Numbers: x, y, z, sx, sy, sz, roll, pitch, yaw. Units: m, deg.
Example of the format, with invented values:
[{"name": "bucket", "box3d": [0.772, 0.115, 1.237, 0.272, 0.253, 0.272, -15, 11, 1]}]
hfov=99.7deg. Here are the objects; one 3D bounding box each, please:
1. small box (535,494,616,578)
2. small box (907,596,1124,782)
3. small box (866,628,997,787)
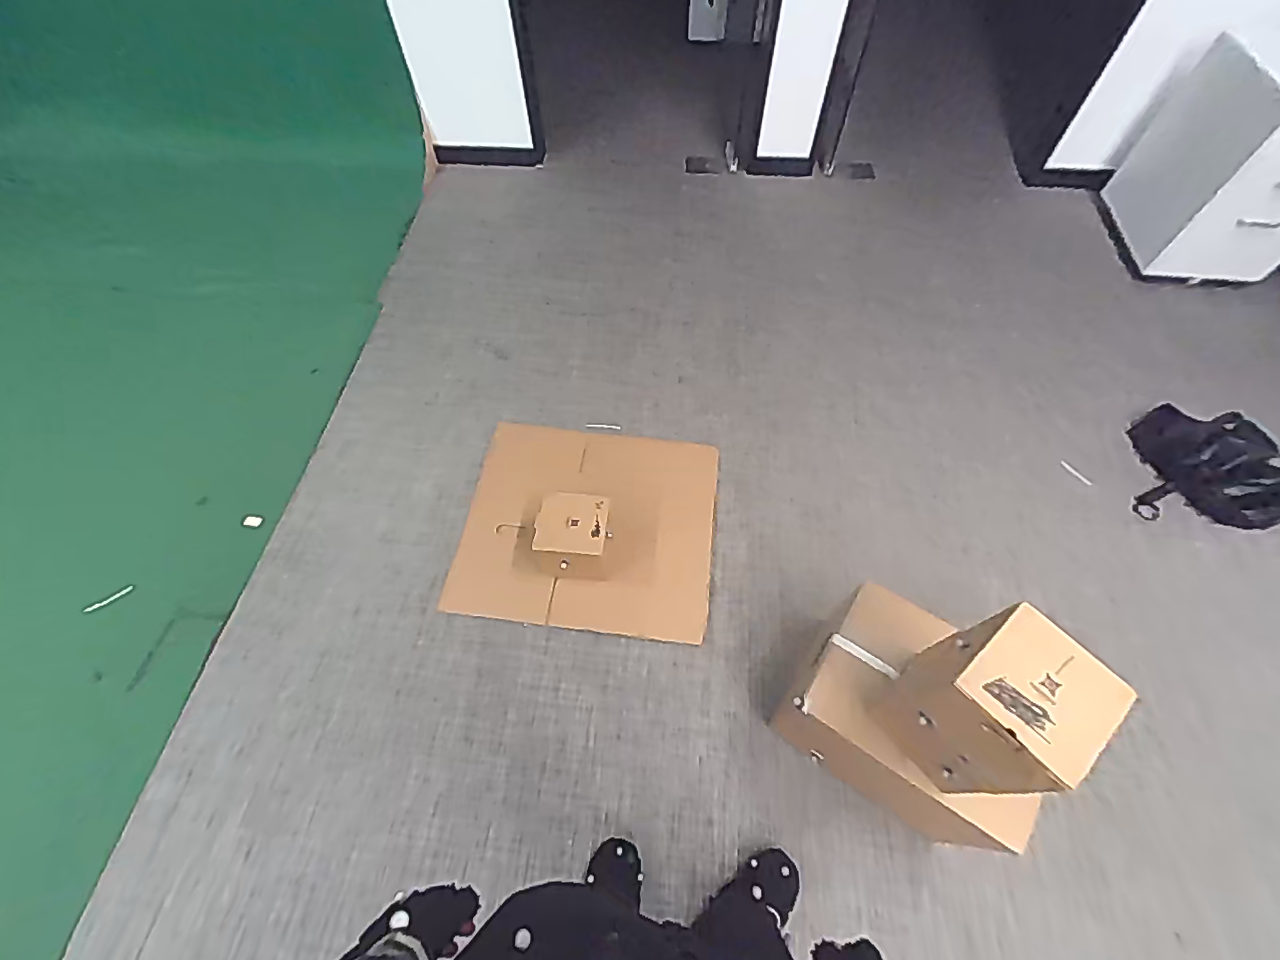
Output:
[{"name": "small box", "box3d": [-0.161, 0.150, 1.416, 0.179, 0.176, 0.168, 1, 57, 3]}, {"name": "small box", "box3d": [0.517, 0.305, 0.776, 0.179, 0.176, 0.168, -39, 66, -19]}, {"name": "small box", "box3d": [0.524, 0.388, 0.918, 0.168, 0.176, 0.179, -36, 64, -19]}]
